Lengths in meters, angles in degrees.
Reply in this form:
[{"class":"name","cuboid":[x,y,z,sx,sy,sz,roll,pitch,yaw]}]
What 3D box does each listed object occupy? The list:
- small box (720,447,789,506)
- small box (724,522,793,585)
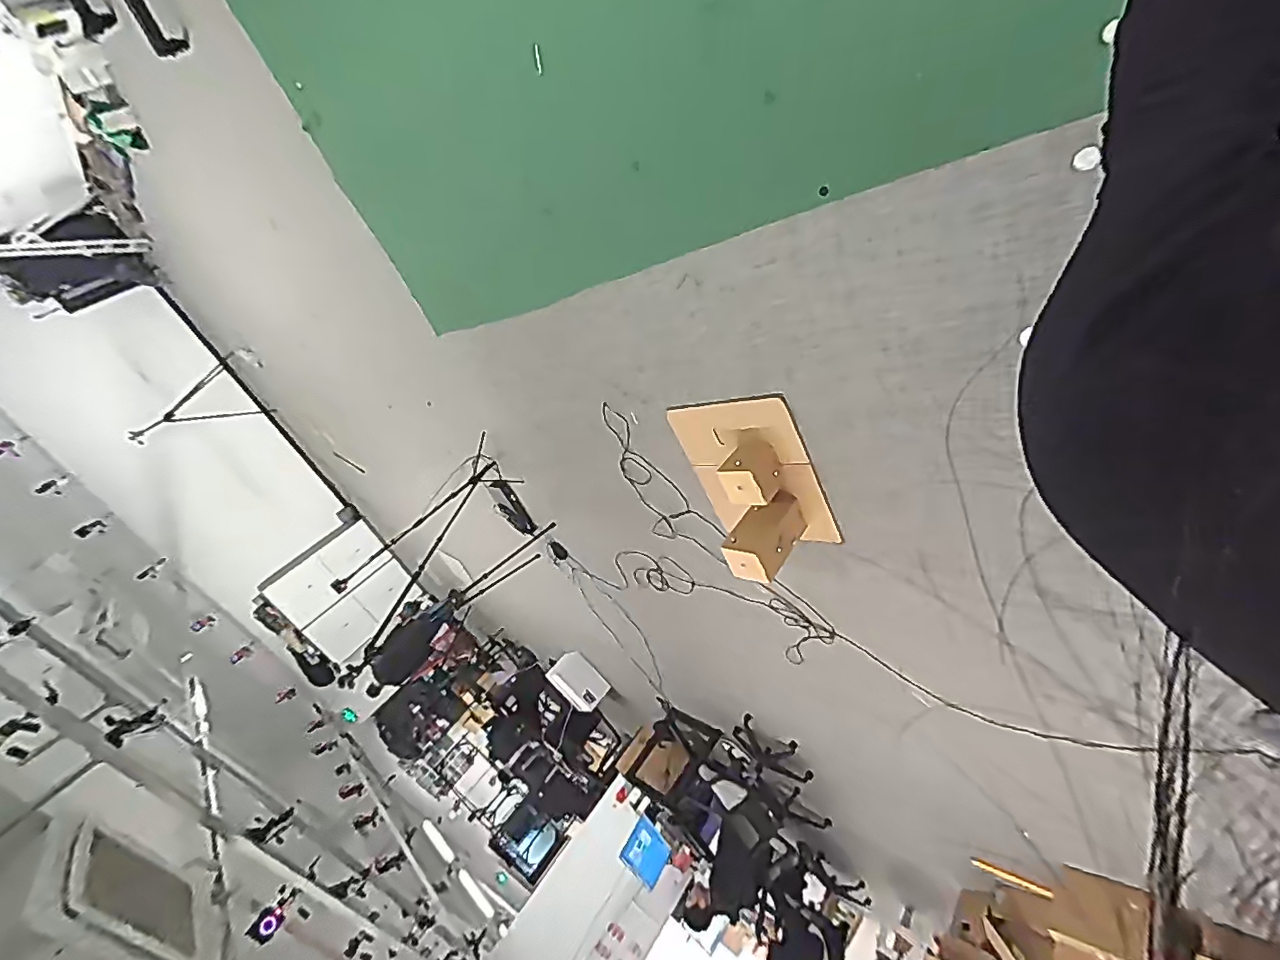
[{"class":"small box","cuboid":[0.452,-0.016,2.118,0.179,0.176,0.168,-2,126,50]},{"class":"small box","cuboid":[0.468,0.281,2.126,0.179,0.176,0.168,4,132,47]}]
